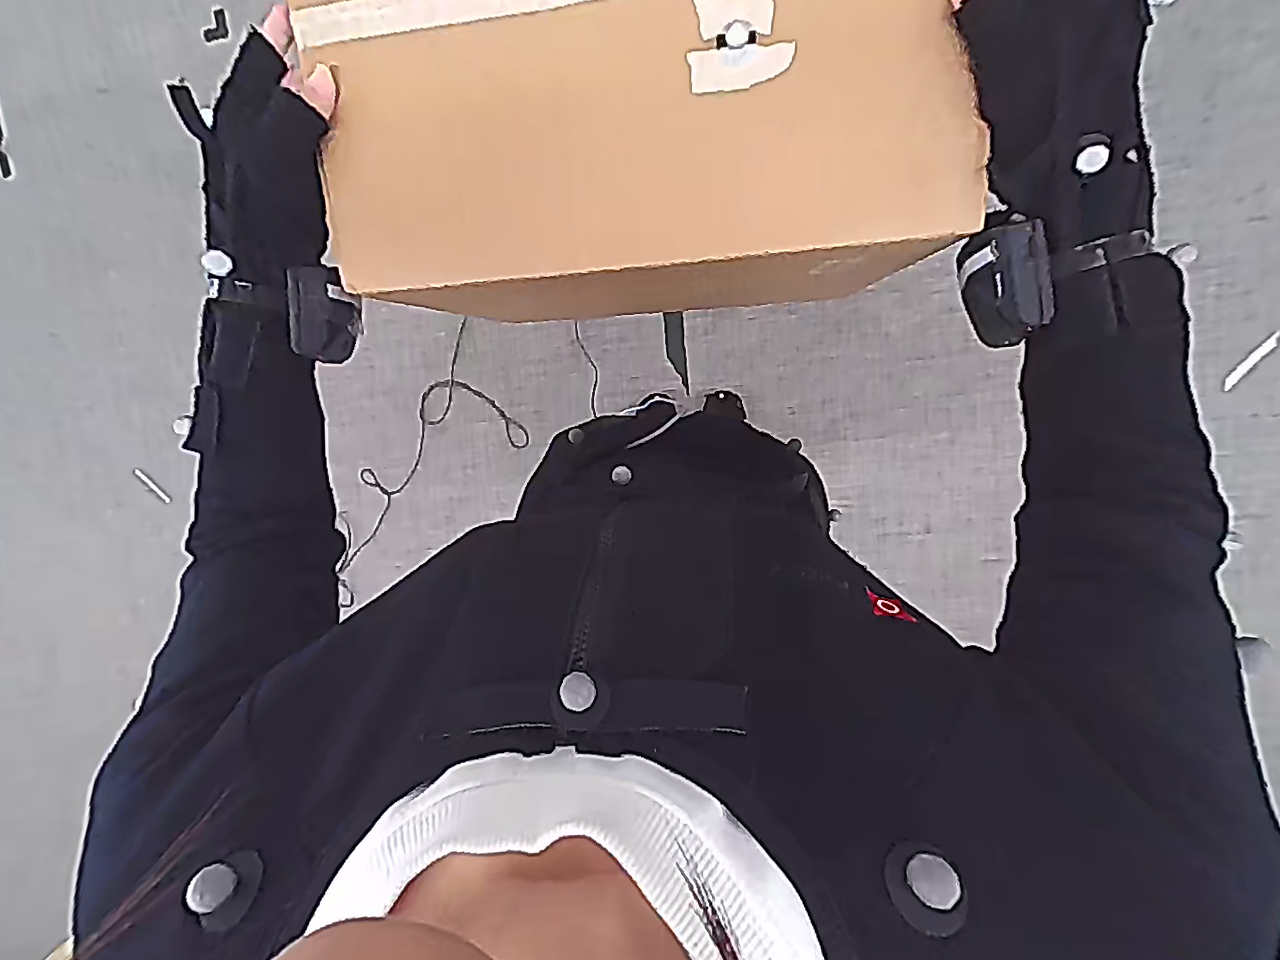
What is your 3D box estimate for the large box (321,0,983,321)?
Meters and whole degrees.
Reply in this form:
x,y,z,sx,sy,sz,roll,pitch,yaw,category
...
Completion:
x,y,z,sx,sy,sz,roll,pitch,yaw,category
0.009,-0.326,0.466,0.408,0.320,0.320,-3,103,7,large box
